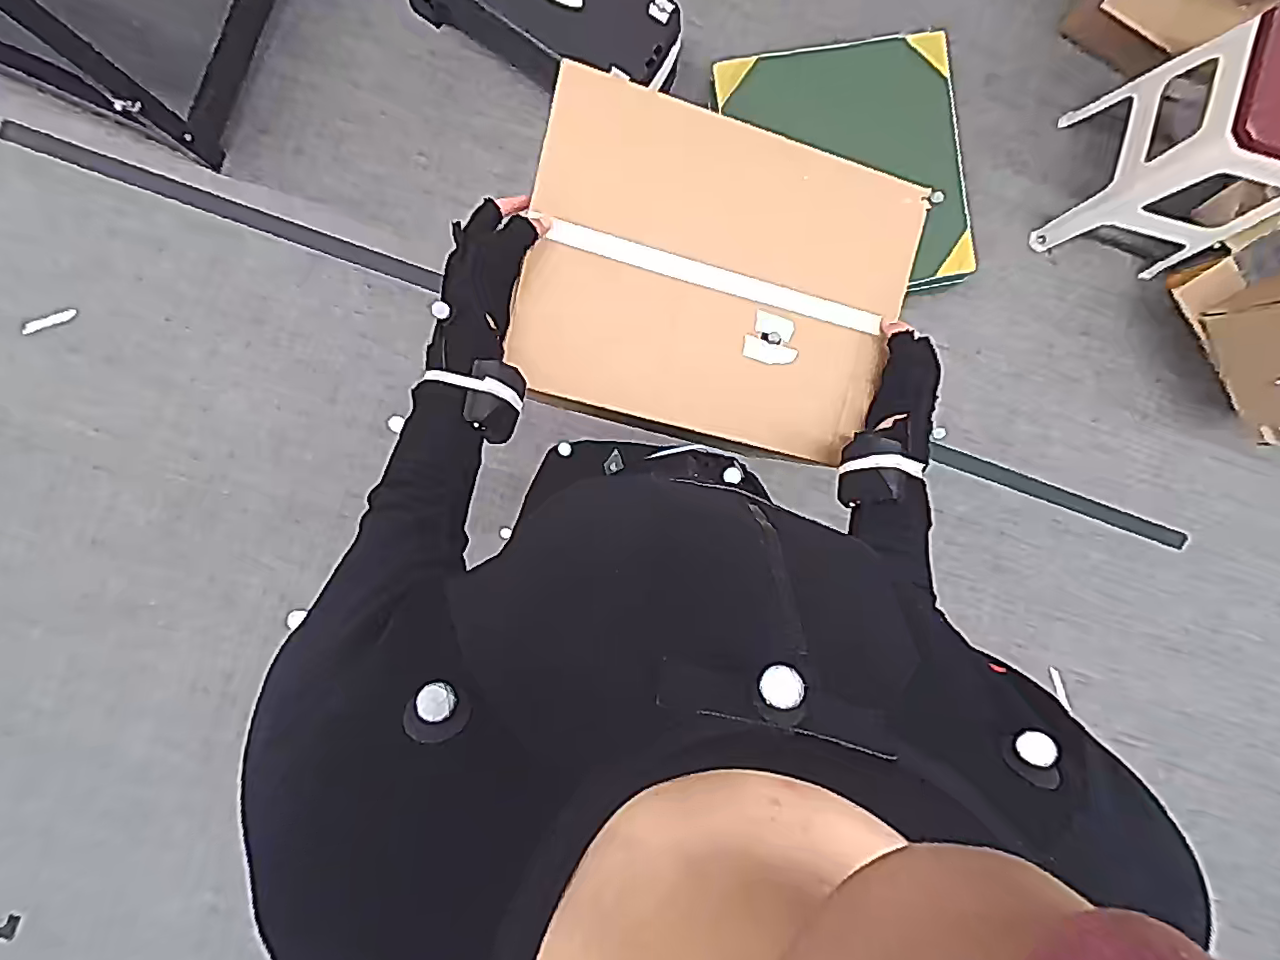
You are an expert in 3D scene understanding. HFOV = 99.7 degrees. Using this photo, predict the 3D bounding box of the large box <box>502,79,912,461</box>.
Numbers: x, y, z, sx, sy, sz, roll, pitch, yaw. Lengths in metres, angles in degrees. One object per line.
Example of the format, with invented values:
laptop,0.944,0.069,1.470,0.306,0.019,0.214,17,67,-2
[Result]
large box,0.056,-0.225,0.723,0.408,0.320,0.320,14,94,-10
